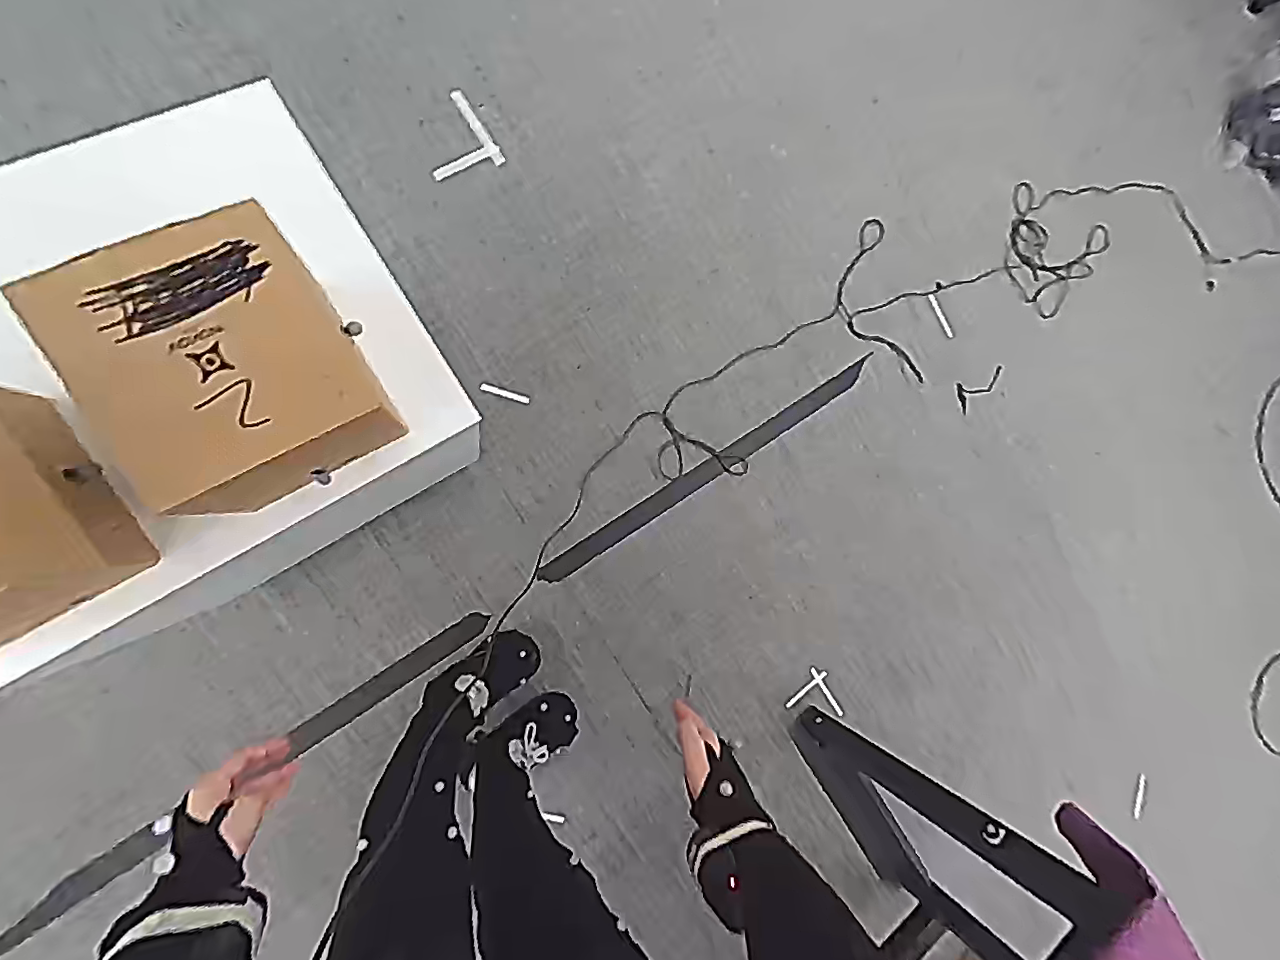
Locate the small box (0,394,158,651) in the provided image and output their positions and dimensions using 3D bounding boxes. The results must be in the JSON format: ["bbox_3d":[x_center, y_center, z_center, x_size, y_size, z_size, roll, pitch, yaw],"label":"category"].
[{"bbox_3d":[-0.523,0.038,0.392,0.168,0.176,0.179,-33,96,-15],"label":"small box"}]
